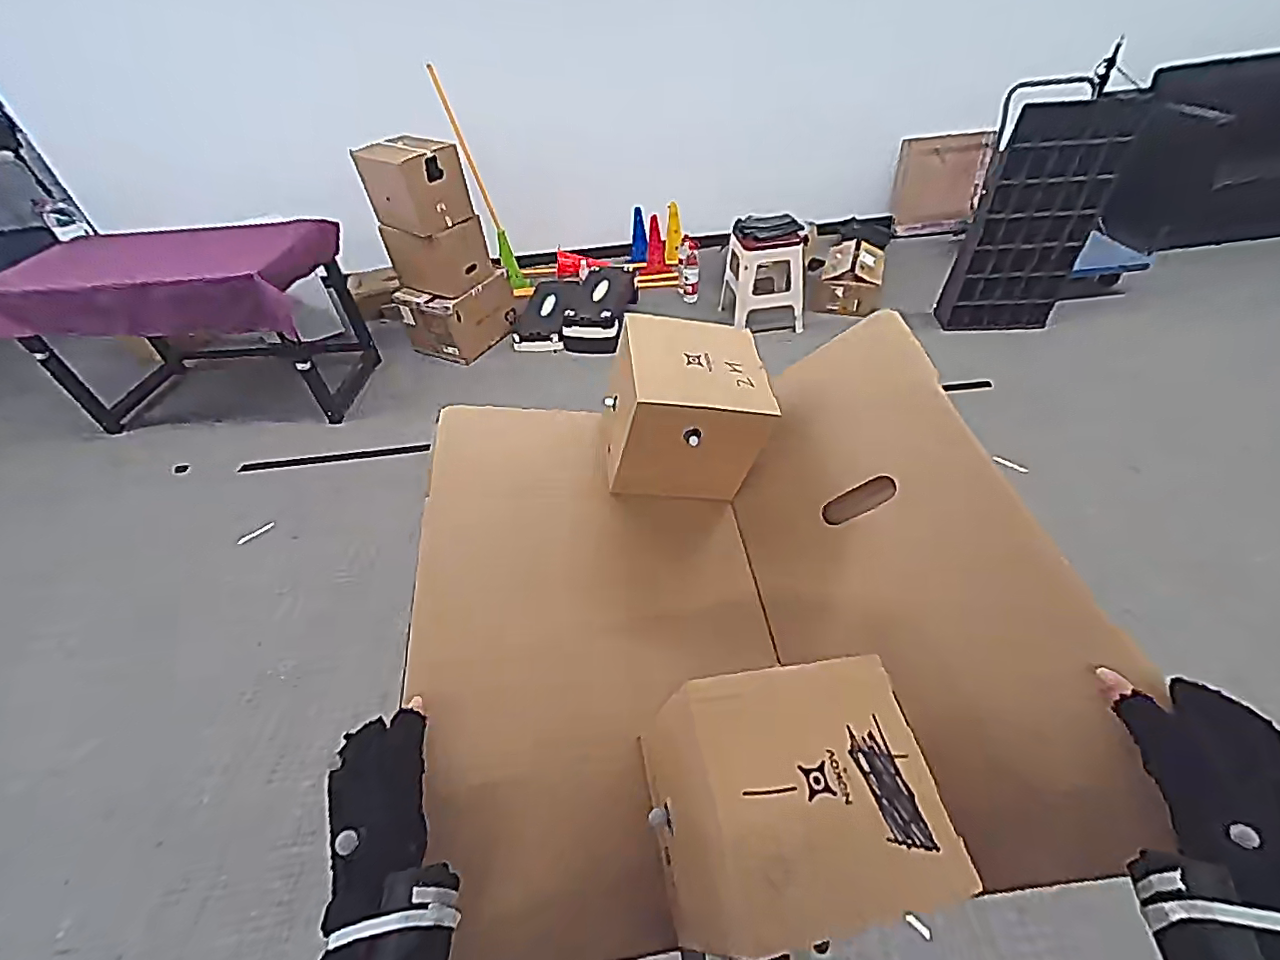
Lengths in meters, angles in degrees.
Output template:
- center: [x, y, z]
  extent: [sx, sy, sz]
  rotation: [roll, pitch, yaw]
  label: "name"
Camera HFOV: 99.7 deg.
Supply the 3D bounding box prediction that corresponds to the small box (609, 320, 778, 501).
- center: [0.056, -0.087, 0.723]
  extent: [0.179, 0.176, 0.168]
  rotation: [4, 51, -13]
  label: "small box"
